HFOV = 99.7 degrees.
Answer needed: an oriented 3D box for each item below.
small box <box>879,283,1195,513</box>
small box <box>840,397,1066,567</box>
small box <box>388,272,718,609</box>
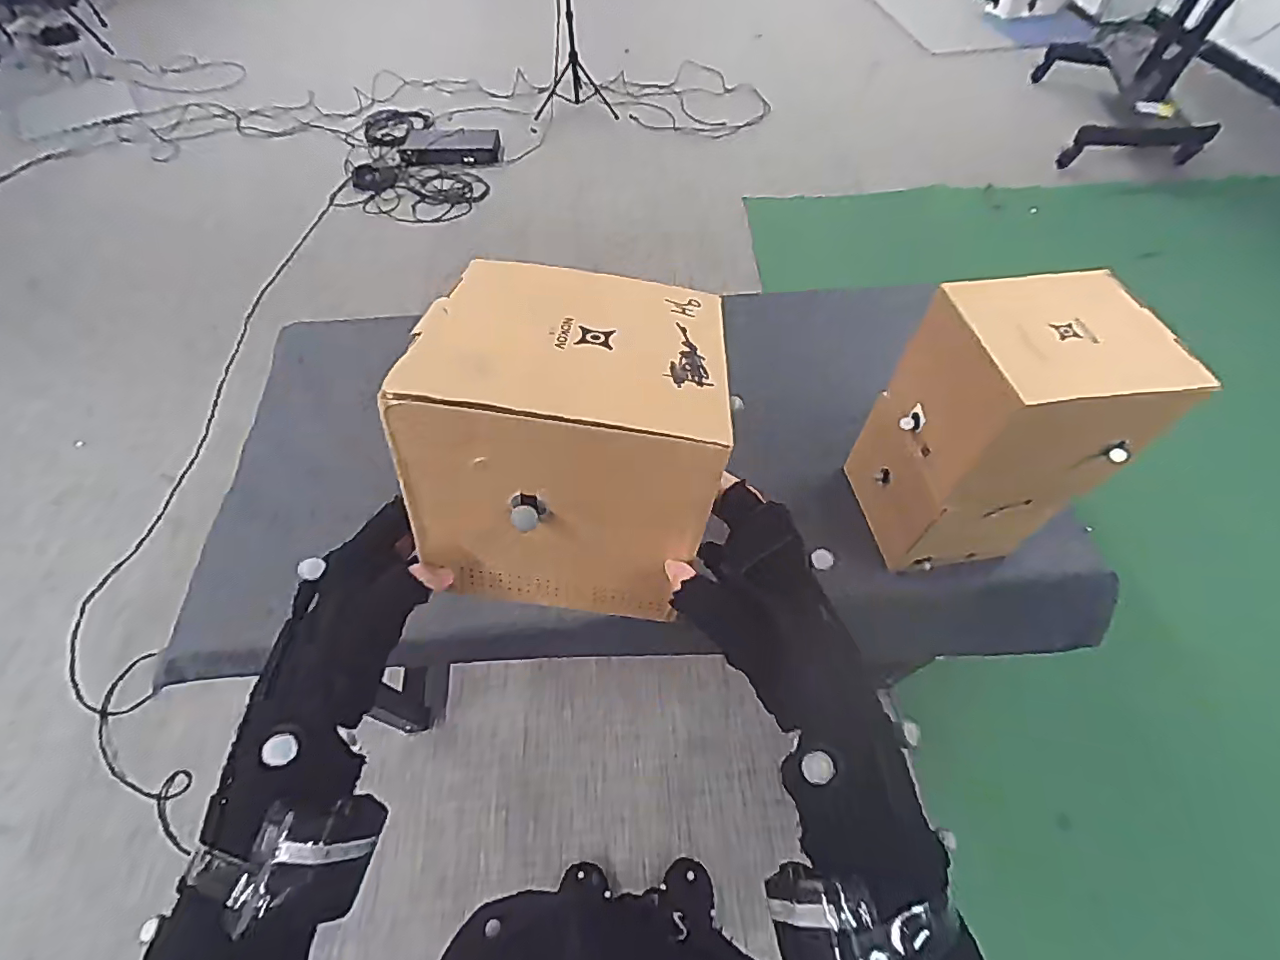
[{"bbox_3d":[0.388,-0.081,0.572,0.179,0.176,0.168,-7,55,-2],"label":"small box"},{"bbox_3d":[0.390,0.002,0.711,0.168,0.176,0.179,-8,55,-5],"label":"small box"},{"bbox_3d":[-0.048,-0.026,0.390,0.179,0.176,0.168,8,44,-2],"label":"small box"}]
